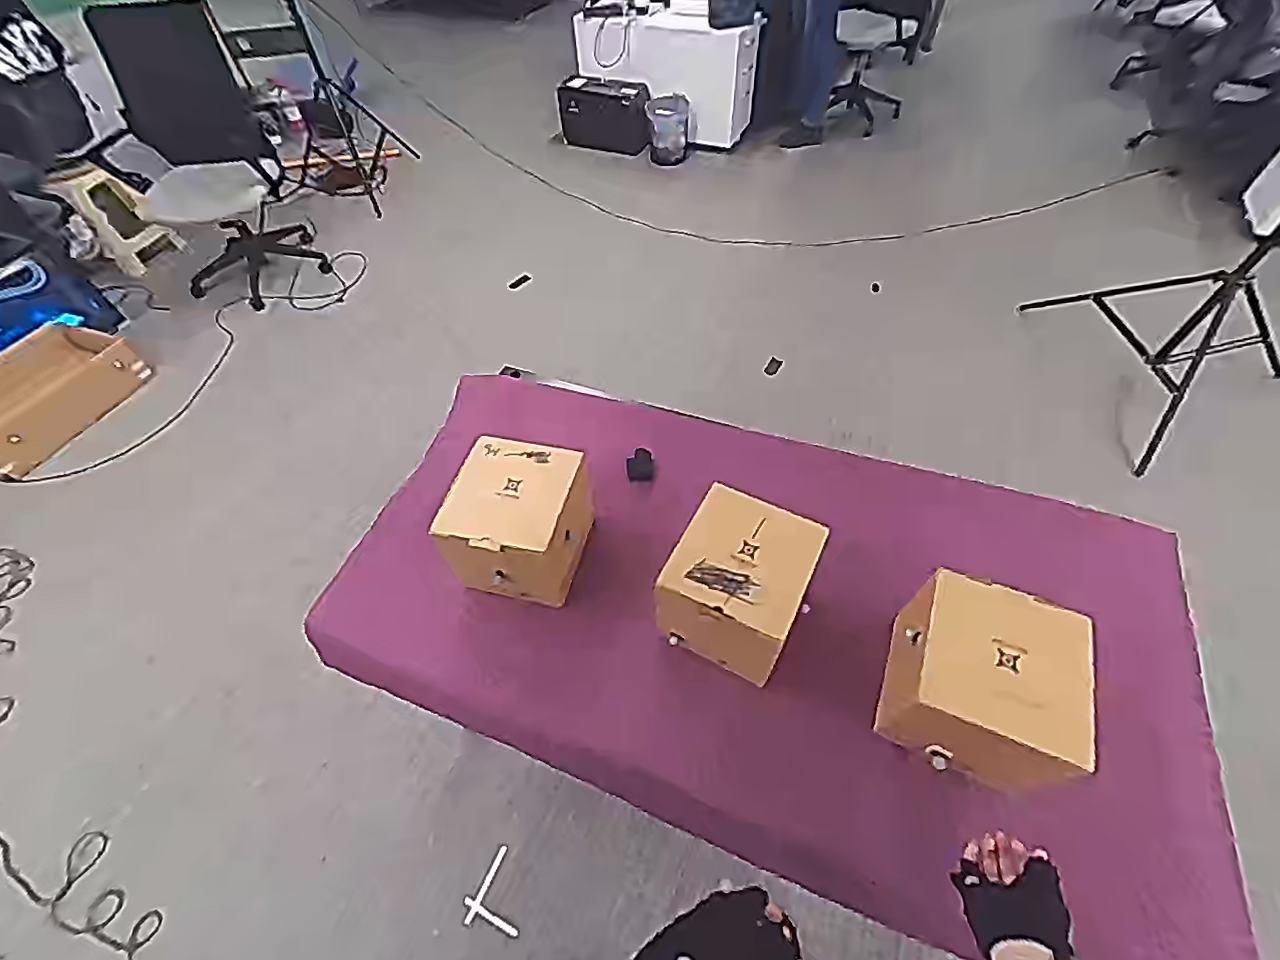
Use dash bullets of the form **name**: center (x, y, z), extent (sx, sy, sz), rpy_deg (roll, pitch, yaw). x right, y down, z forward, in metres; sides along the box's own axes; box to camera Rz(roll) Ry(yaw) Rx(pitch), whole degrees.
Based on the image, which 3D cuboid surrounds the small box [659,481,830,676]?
- **small box**: center (0.138, 0.139, 0.744), extent (0.168, 0.176, 0.179), rpy_deg (23, 56, 19)

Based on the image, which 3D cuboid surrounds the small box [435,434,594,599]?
- **small box**: center (-0.173, 0.059, 0.817), extent (0.168, 0.176, 0.179), rpy_deg (10, 55, 9)

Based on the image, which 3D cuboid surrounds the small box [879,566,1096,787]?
- **small box**: center (0.410, 0.240, 0.658), extent (0.168, 0.176, 0.179), rpy_deg (19, 57, 17)
